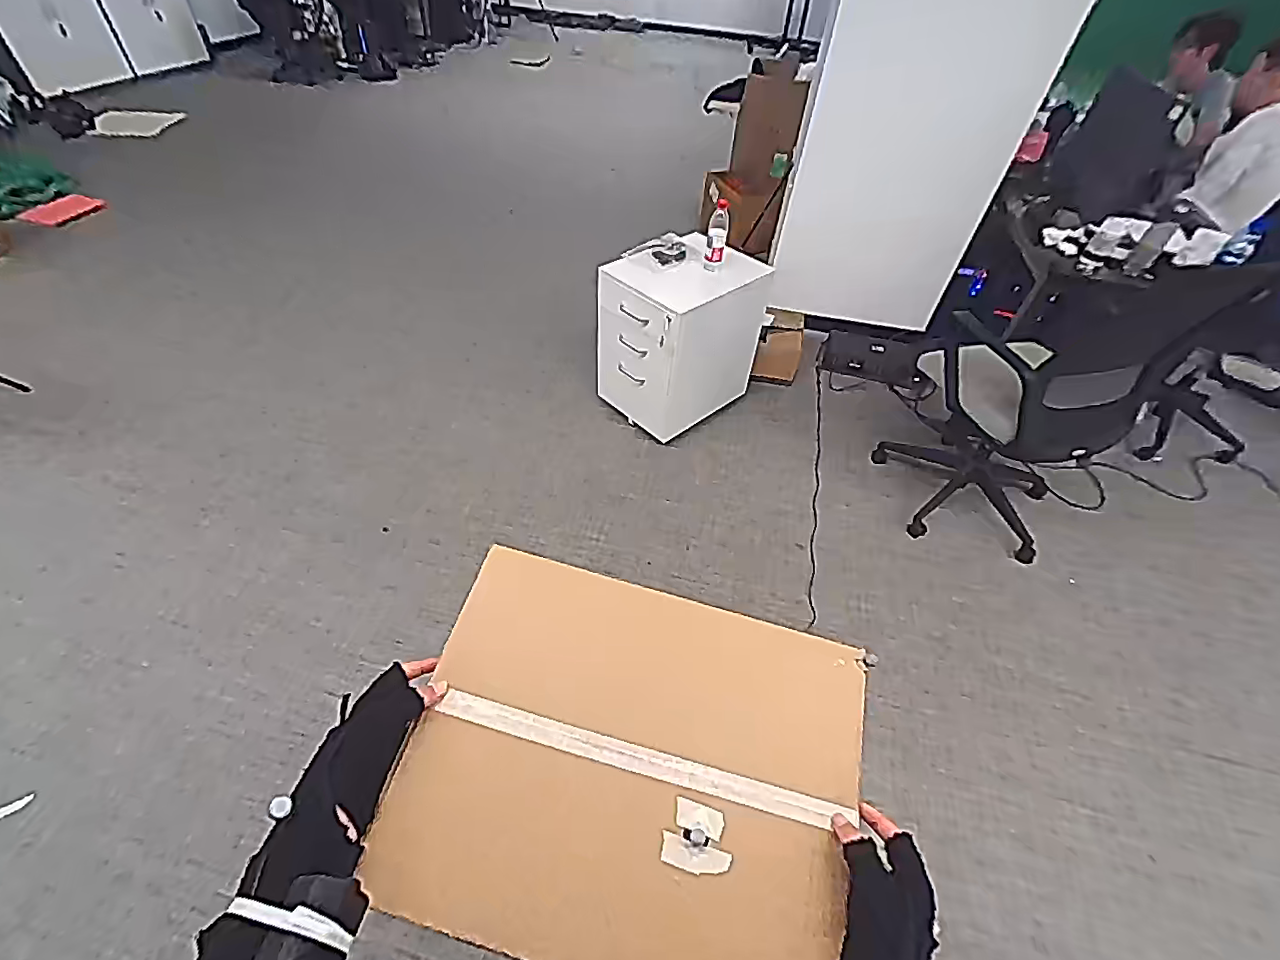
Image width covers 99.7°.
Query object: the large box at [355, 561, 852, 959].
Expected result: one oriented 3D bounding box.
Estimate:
[{"bbox_3d":[-0.020,0.336,0.630,0.408,0.320,0.320,16,60,4],"label":"large box"}]
